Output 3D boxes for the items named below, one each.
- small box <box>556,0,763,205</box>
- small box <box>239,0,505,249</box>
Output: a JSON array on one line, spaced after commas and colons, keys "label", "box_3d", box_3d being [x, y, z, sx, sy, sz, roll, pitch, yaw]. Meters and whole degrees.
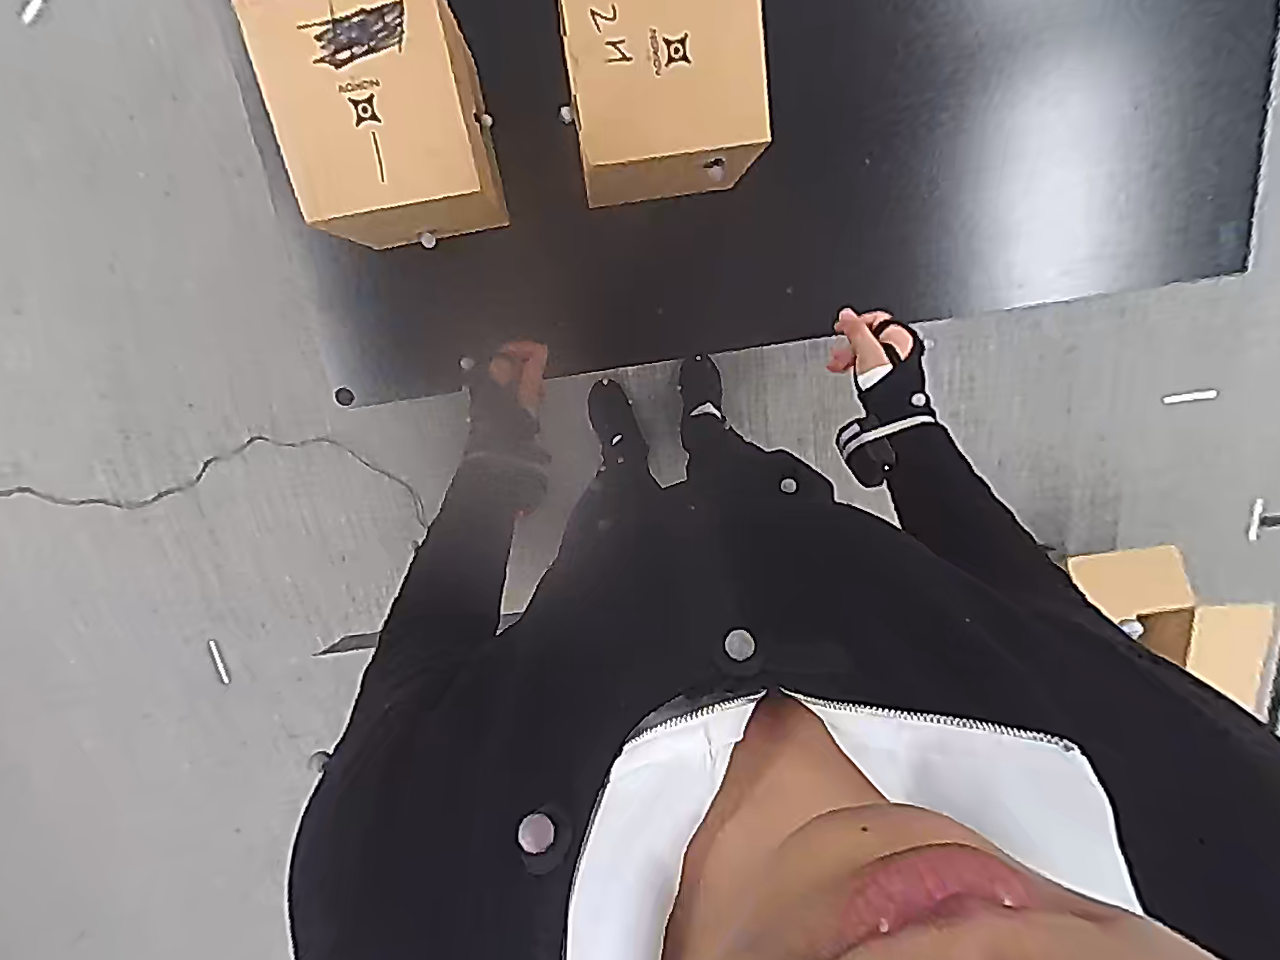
[{"label": "small box", "box_3d": [0.014, -0.398, 0.557, 0.179, 0.176, 0.168, -9, 105, -1]}, {"label": "small box", "box_3d": [-0.248, -0.353, 0.553, 0.168, 0.176, 0.179, -11, 107, -1]}]
